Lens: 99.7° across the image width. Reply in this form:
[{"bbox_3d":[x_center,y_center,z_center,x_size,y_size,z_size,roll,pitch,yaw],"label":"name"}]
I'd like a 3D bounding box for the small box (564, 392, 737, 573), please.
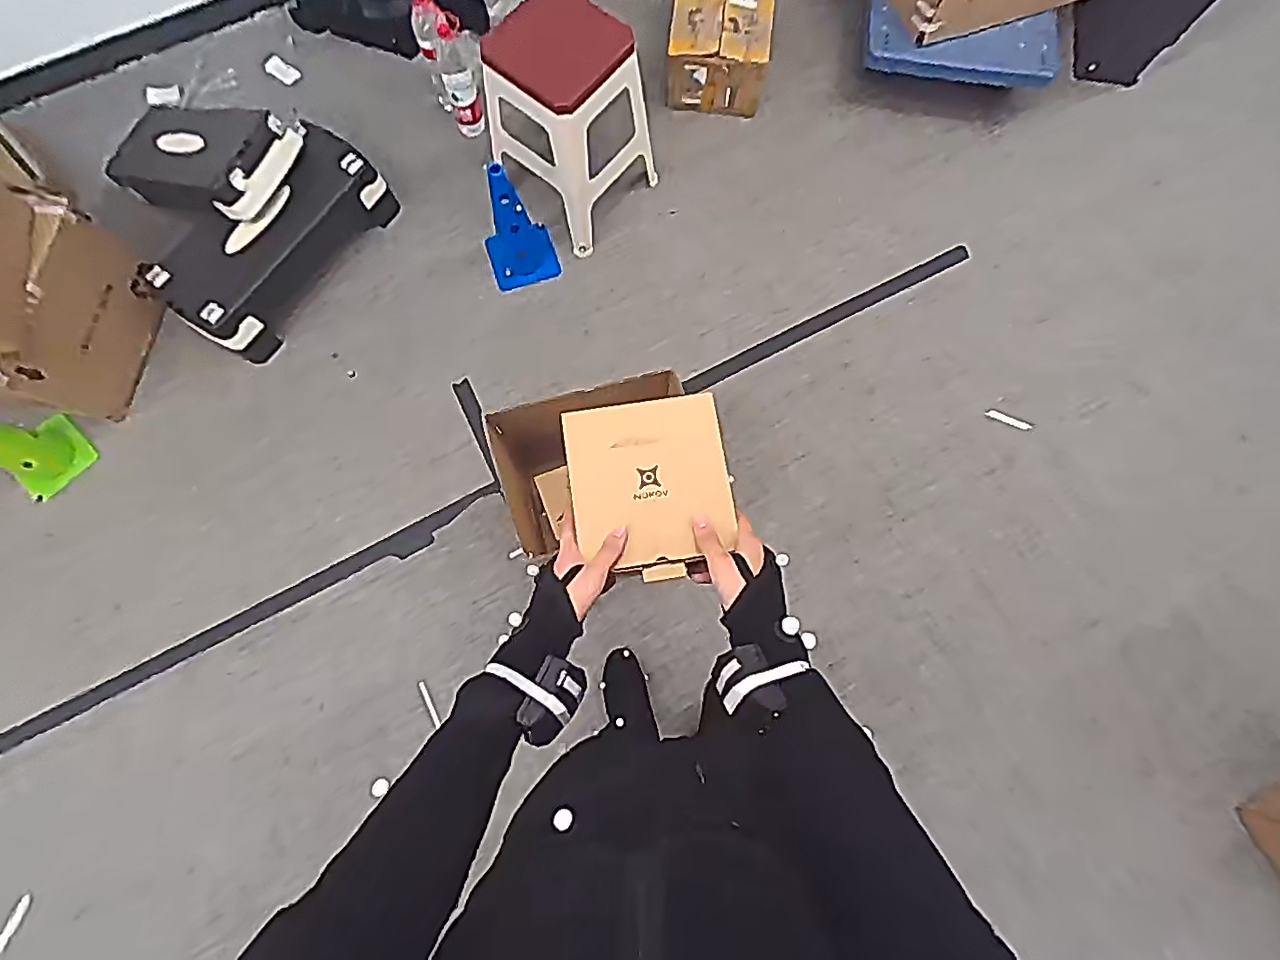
[{"bbox_3d":[0.009,0.014,0.639,0.168,0.176,0.179,-7,78,-3],"label":"small box"}]
